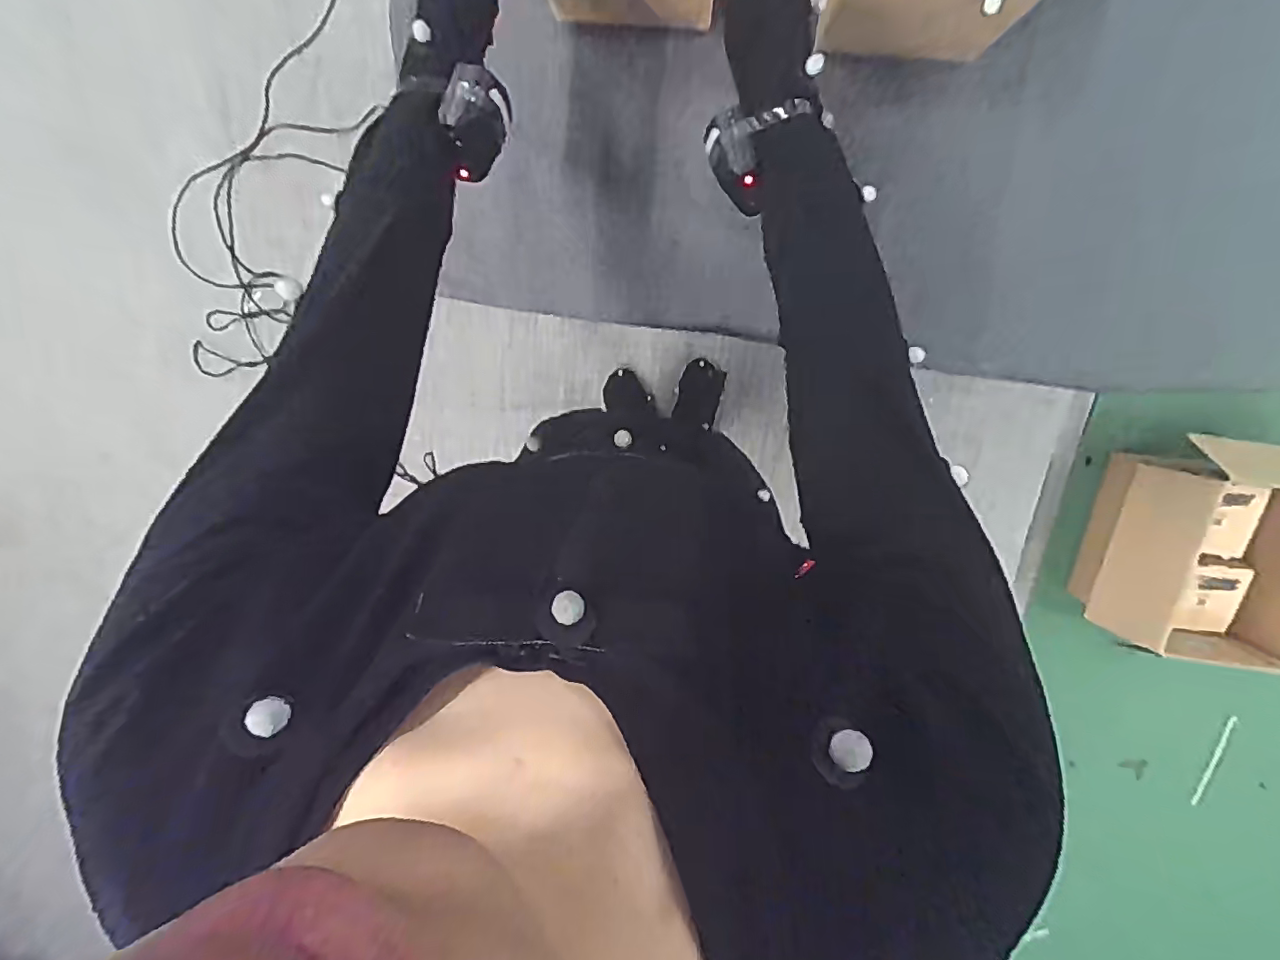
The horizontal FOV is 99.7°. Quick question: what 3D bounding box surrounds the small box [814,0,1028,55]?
[{"bbox_3d":[0.276,-0.520,0.487,0.179,0.176,0.168,6,105,3],"label":"small box"}]
